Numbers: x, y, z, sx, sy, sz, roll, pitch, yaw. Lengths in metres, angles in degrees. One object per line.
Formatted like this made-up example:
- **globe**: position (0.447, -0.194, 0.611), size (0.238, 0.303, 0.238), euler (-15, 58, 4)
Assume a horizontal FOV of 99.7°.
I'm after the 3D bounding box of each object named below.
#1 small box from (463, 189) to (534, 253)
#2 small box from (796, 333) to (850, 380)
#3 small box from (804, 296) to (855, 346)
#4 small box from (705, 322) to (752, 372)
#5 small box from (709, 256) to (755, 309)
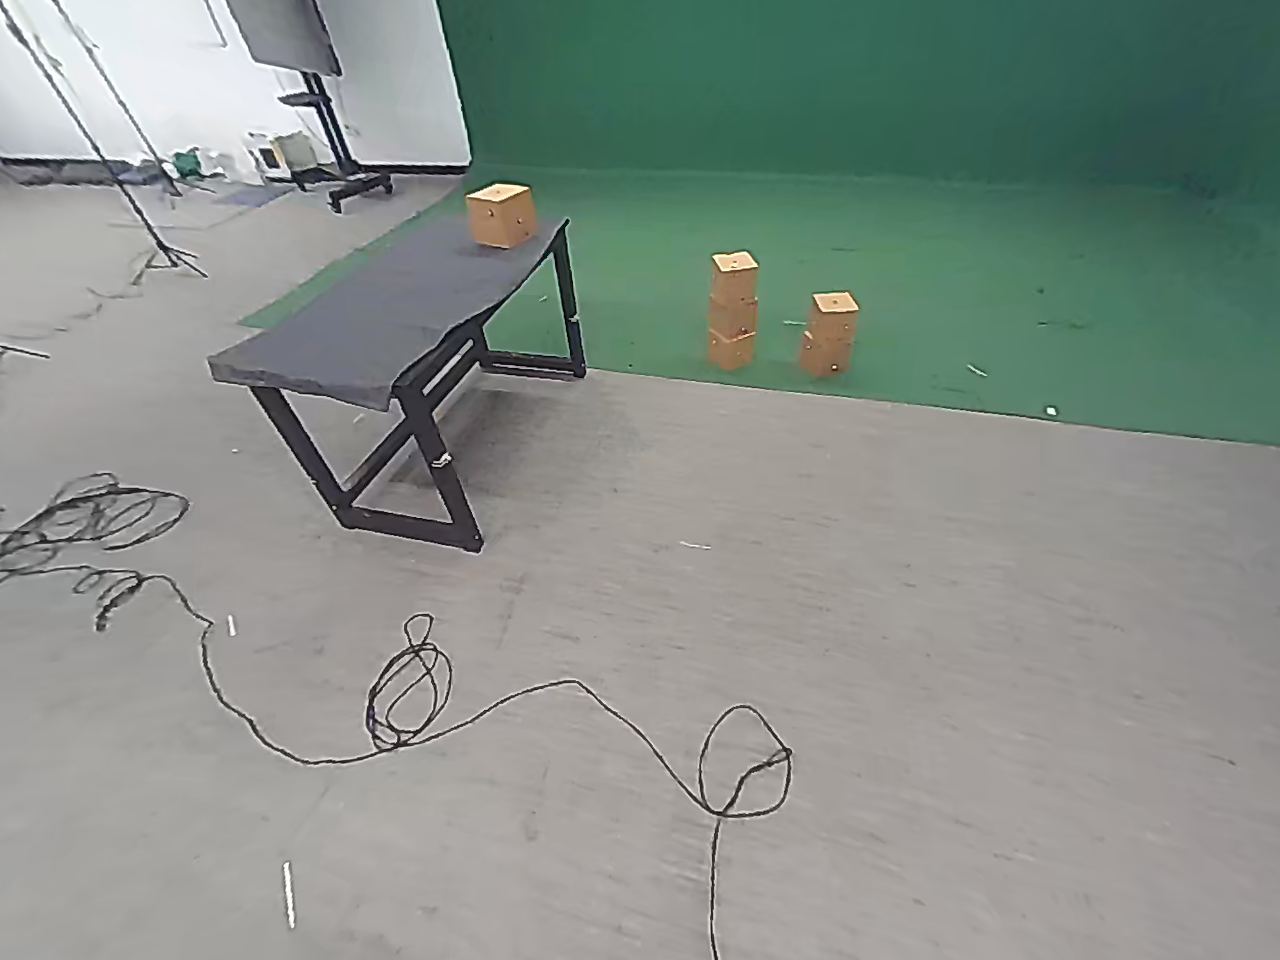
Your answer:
- **small box**: position (-0.525, -0.973, 2.035), size (0.179, 0.176, 0.168), euler (23, 50, 29)
- **small box**: position (0.871, -0.604, 2.592), size (0.168, 0.176, 0.179), euler (-18, 47, -14)
- **small box**: position (0.868, -0.726, 2.485), size (0.168, 0.176, 0.179), euler (-3, 43, 0)
- **small box**: position (0.437, -0.651, 2.681), size (0.168, 0.176, 0.179), euler (-23, 46, -18)
- **small box**: position (0.414, -0.901, 2.467), size (0.168, 0.176, 0.179), euler (-9, 44, -4)
